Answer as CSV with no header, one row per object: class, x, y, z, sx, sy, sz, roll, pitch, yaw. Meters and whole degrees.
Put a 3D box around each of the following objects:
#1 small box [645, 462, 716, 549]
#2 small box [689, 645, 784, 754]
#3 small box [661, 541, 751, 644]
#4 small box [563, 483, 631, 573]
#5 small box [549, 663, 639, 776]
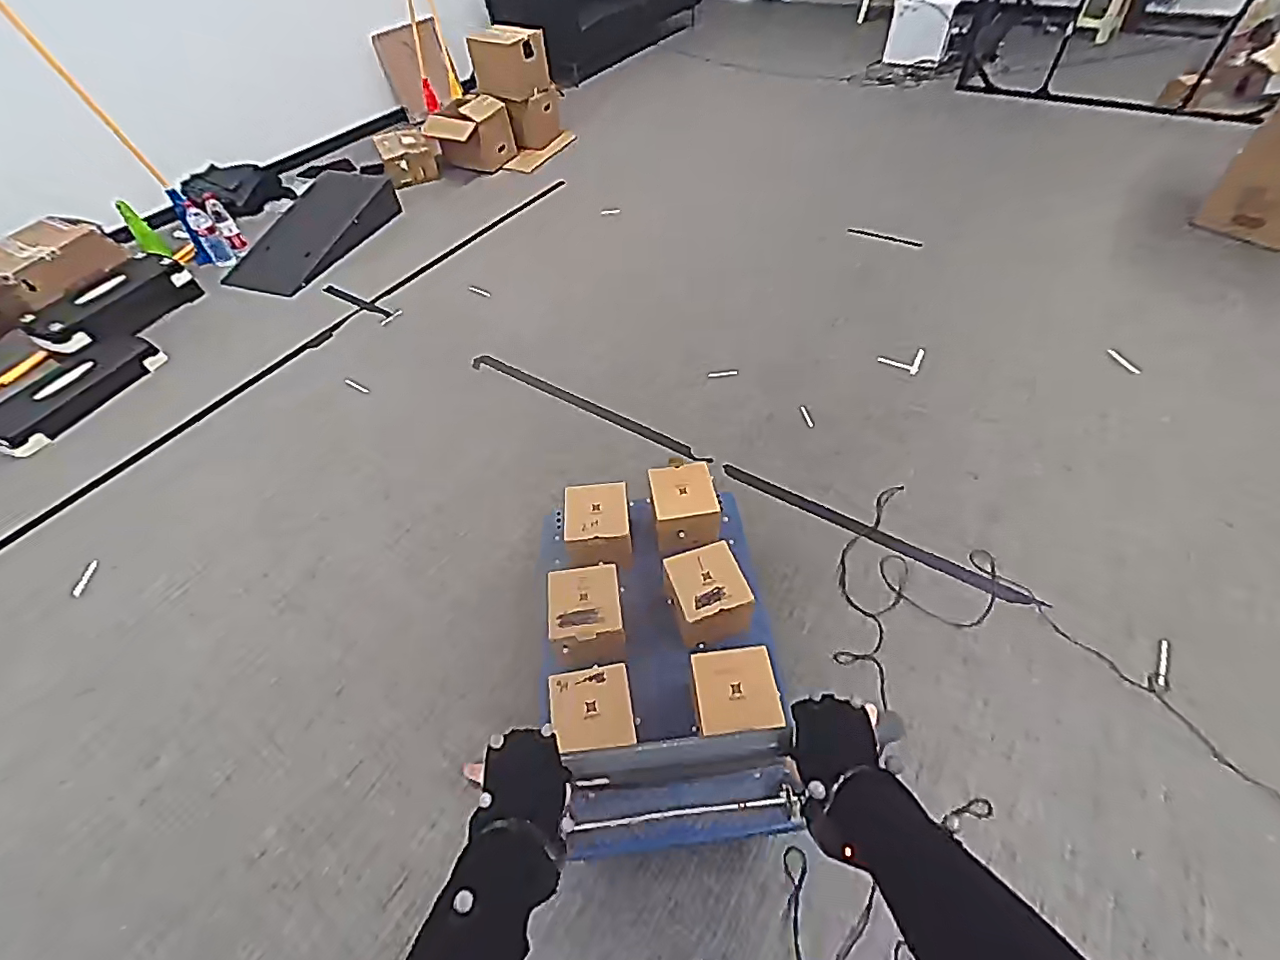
small box,0.112,0.078,1.505,0.168,0.176,0.179,-9,51,-4
small box,0.200,0.481,1.170,0.168,0.176,0.179,-6,50,-2
small box,0.158,0.284,1.333,0.168,0.176,0.179,-16,51,-10
small box,-0.115,0.132,1.472,0.168,0.176,0.179,-5,51,-1
small box,-0.096,0.517,1.156,0.168,0.176,0.179,-9,51,-5
